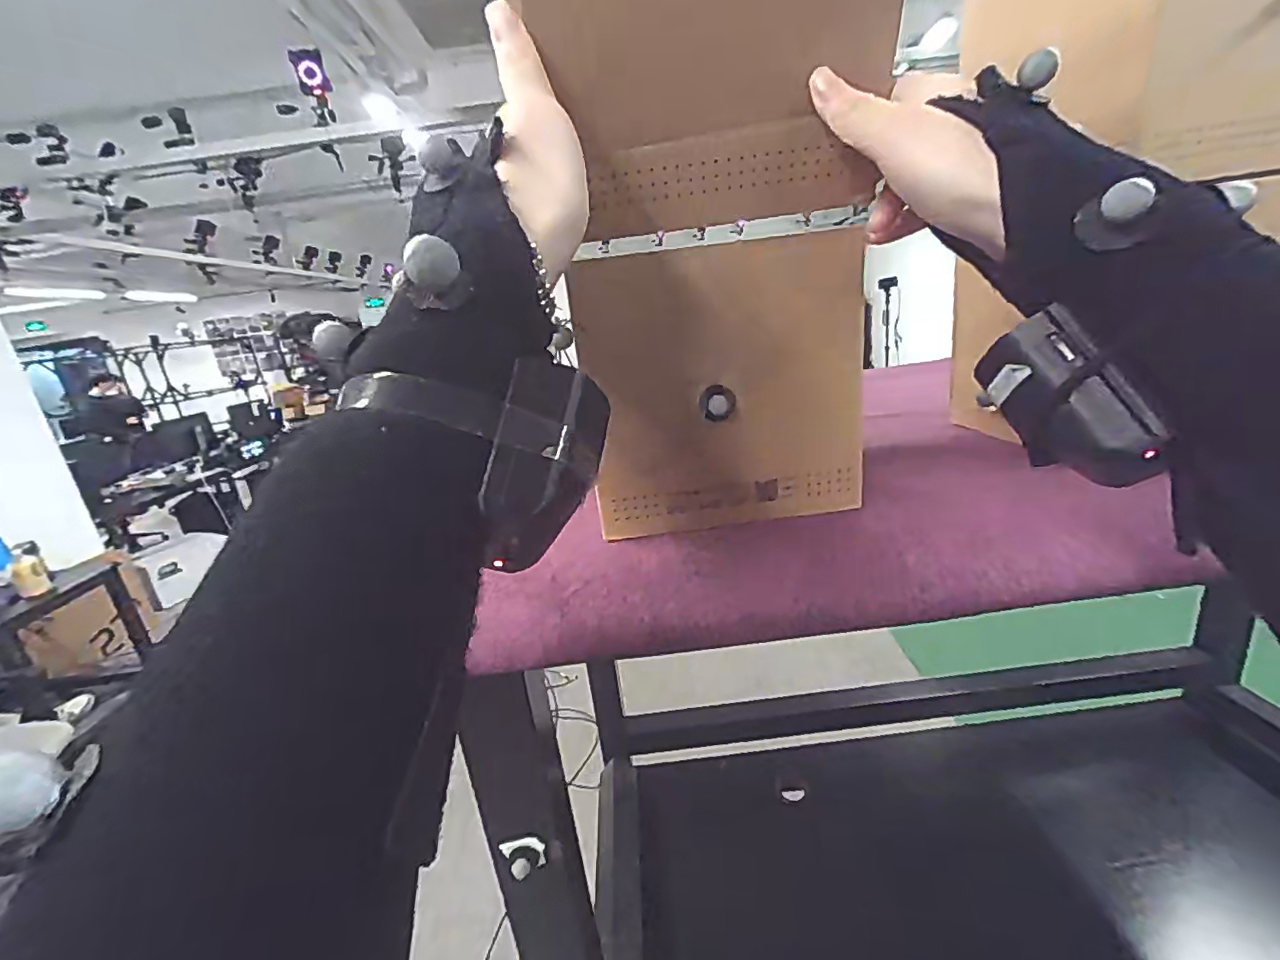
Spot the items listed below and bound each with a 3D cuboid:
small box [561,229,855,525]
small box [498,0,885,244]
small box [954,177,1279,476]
[{"bbox_3d":[0.044,-0.072,0.394,0.168,0.176,0.179,-6,18,-1],"label":"small box"},{"bbox_3d":[0.020,-0.241,0.295,0.179,0.176,0.168,-7,40,0],"label":"small box"},{"bbox_3d":[0.363,-0.113,0.401,0.179,0.176,0.168,-9,17,0],"label":"small box"}]
